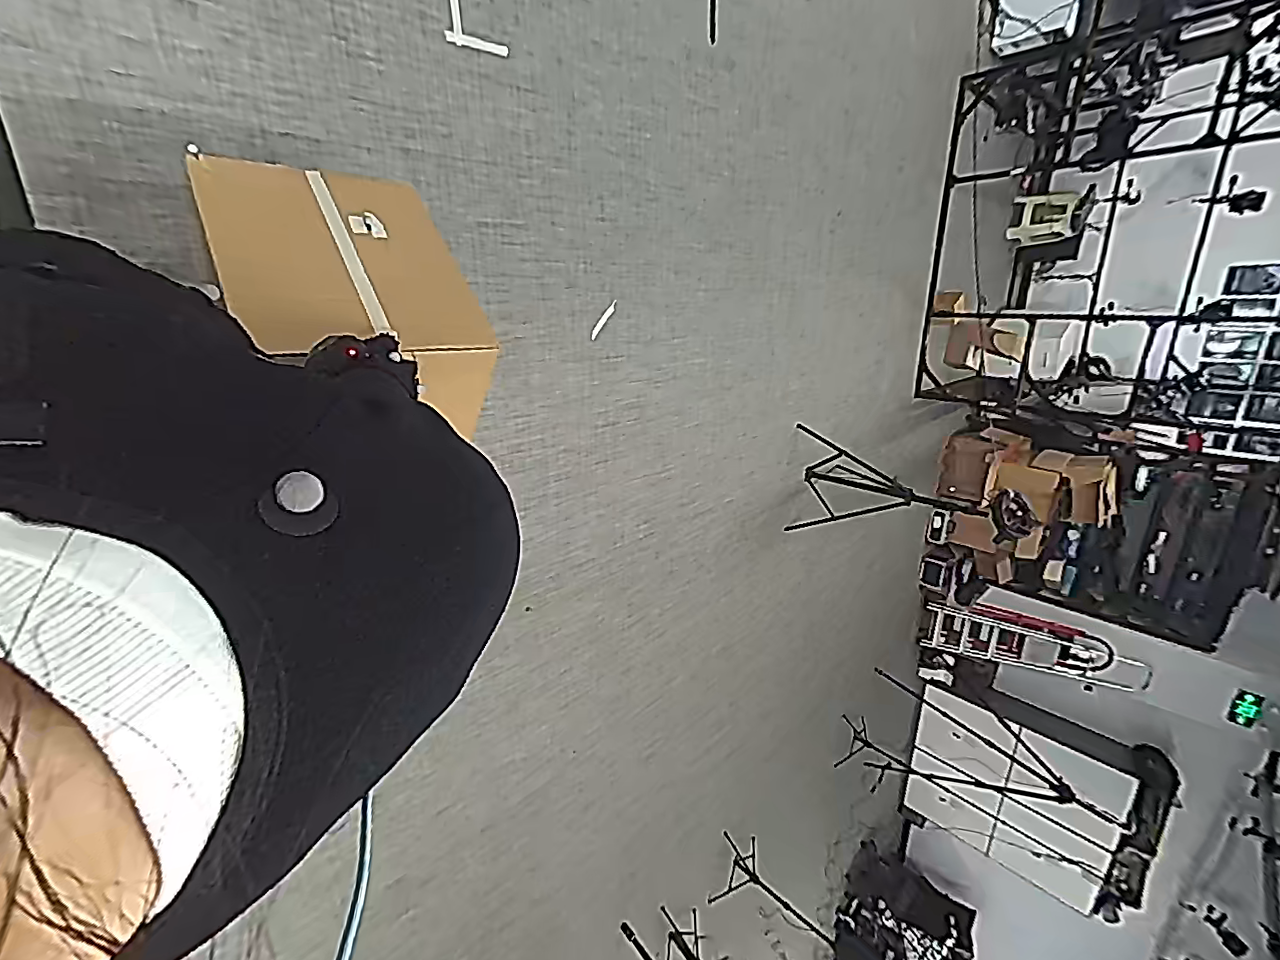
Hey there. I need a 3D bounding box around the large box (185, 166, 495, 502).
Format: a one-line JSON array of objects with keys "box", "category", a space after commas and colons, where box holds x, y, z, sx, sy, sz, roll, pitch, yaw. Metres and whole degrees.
[{"box": [-0.491, -0.232, 0.890, 0.320, 0.408, 0.320, -13, 151, -39], "category": "large box"}]
